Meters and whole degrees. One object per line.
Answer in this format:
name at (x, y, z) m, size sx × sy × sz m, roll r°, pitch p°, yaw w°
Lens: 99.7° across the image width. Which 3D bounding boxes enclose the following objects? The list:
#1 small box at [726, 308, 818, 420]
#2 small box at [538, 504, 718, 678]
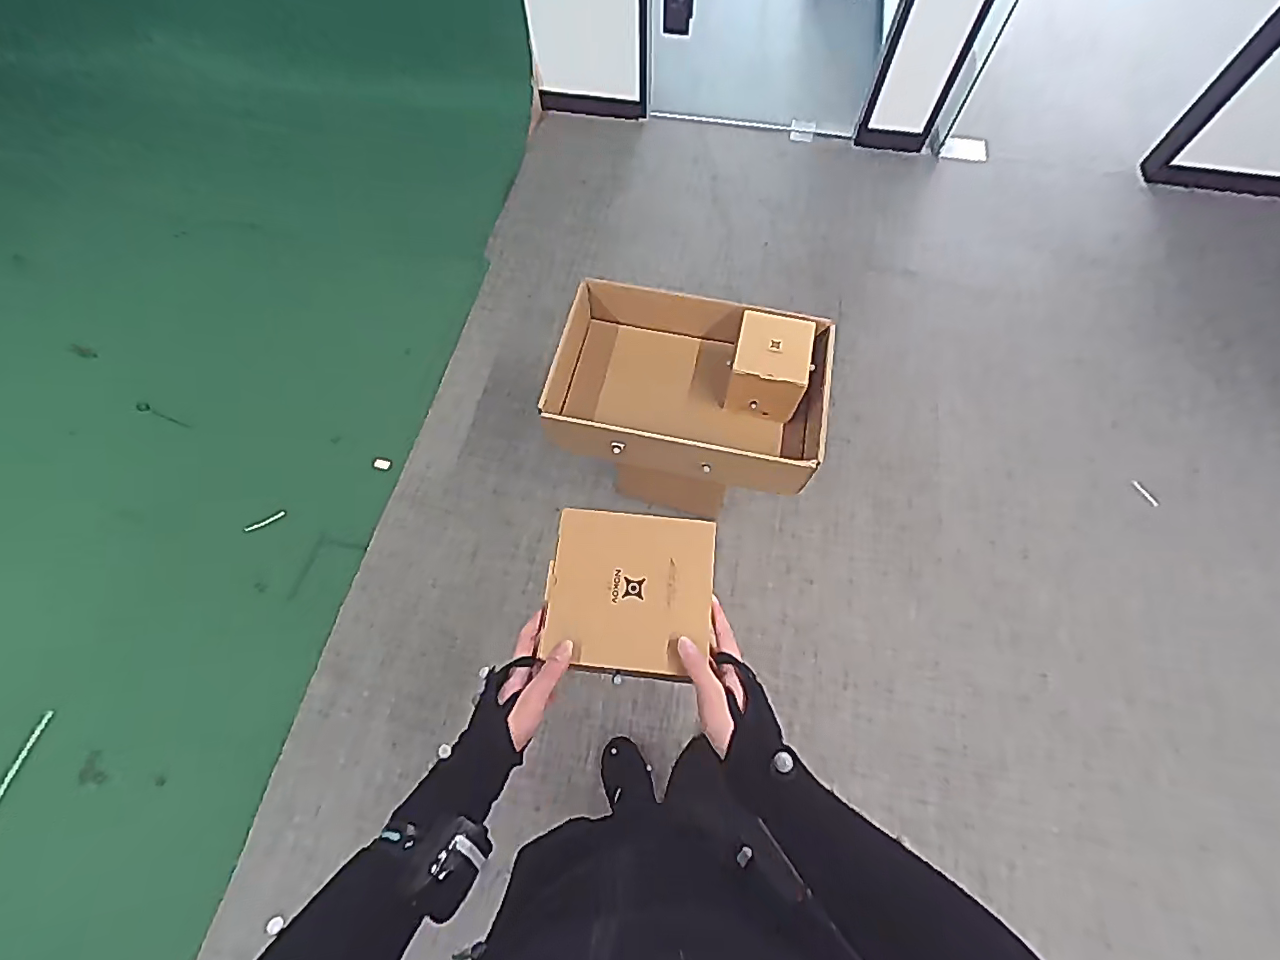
small box at (0.304, -0.269, 1.270) m, size 0.168 × 0.176 × 0.179 m, roll 13°, pitch 68°, yaw 5°
small box at (-0.007, 0.139, 0.645) m, size 0.179 × 0.176 × 0.168 m, roll 6°, pitch 68°, yaw 3°
